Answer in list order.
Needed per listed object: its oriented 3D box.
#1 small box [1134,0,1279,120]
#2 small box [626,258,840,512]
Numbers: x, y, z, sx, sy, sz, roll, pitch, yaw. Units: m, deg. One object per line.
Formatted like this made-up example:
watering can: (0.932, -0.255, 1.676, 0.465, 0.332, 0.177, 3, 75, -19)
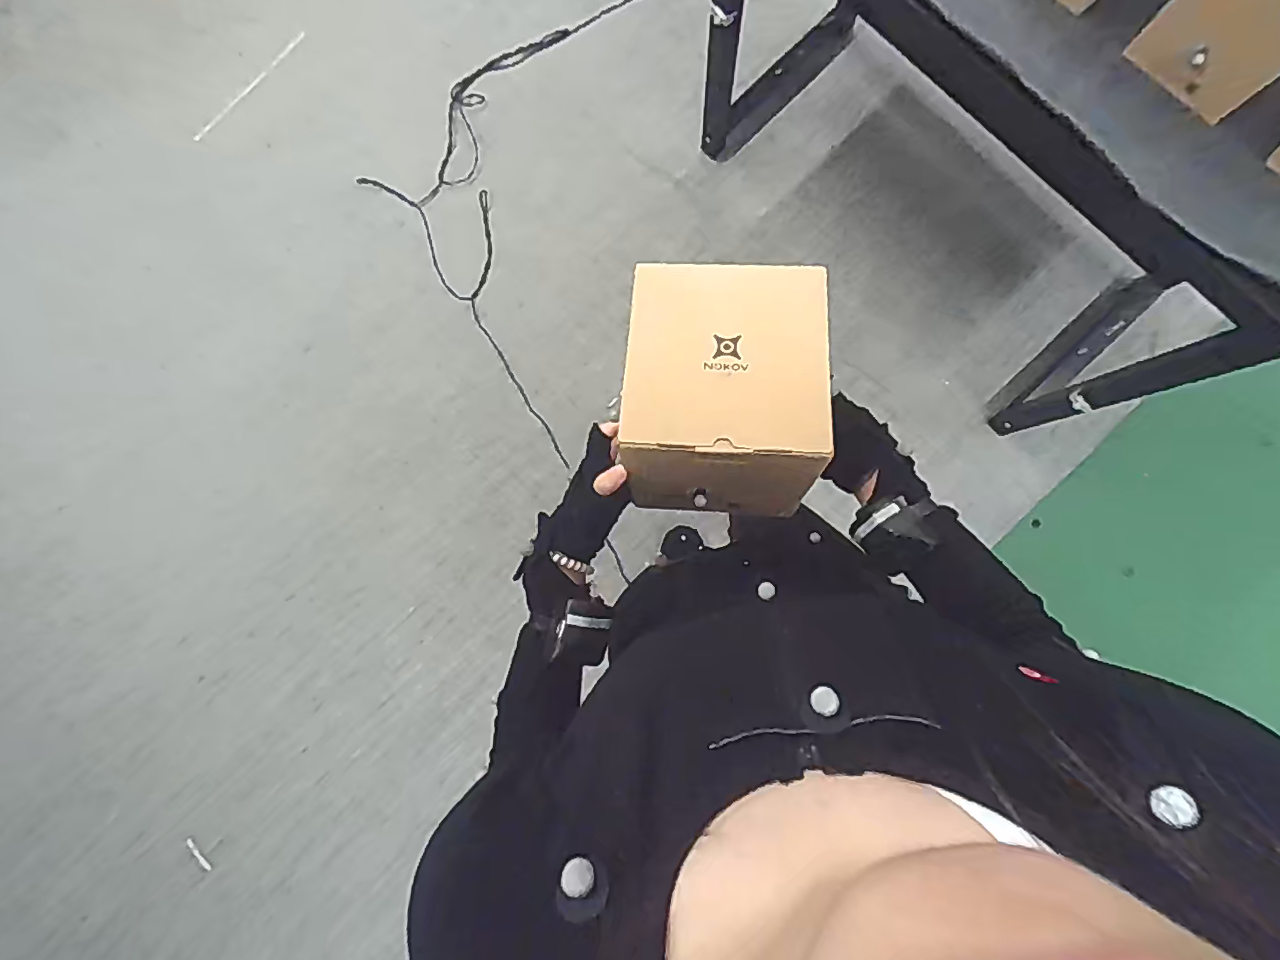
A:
small box: (0.811, -0.625, 0.693, 0.179, 0.176, 0.168, -44, 83, -1)
small box: (0.080, -0.080, 0.512, 0.168, 0.176, 0.179, 3, 71, 4)
